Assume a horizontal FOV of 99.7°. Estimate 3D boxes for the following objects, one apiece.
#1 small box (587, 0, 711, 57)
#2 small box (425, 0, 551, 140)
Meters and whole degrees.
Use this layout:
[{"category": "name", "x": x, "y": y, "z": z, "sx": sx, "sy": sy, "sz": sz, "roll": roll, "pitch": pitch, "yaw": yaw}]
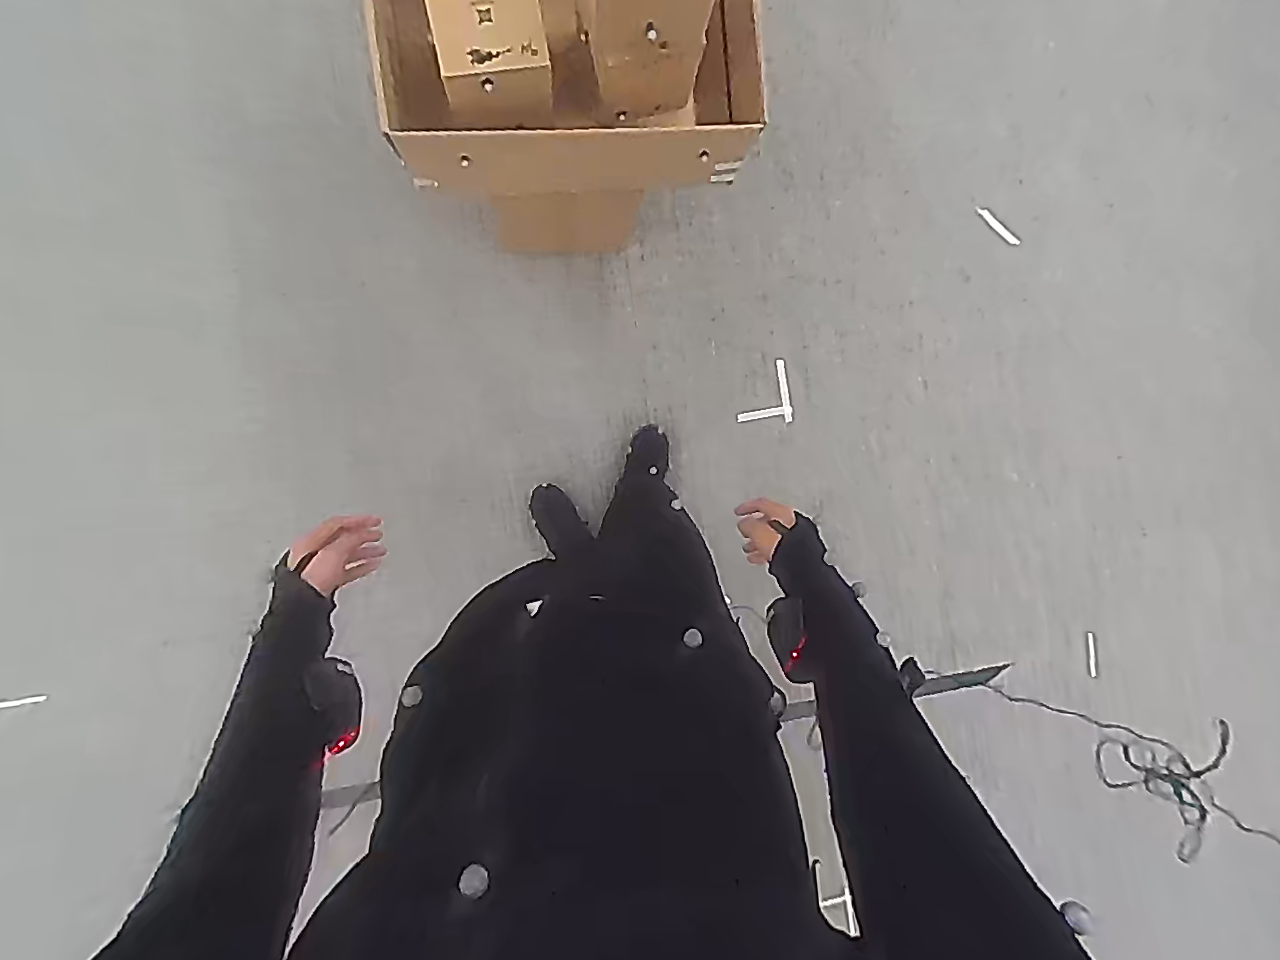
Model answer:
[{"category": "small box", "x": 0.007, "y": -0.734, "z": 0.745, "sx": 0.168, "sy": 0.176, "sz": 0.179, "roll": -7, "pitch": 95, "yaw": -5}, {"category": "small box", "x": -0.242, "y": -0.697, "z": 0.880, "sx": 0.168, "sy": 0.176, "sz": 0.179, "roll": -12, "pitch": 94, "yaw": -6}]
